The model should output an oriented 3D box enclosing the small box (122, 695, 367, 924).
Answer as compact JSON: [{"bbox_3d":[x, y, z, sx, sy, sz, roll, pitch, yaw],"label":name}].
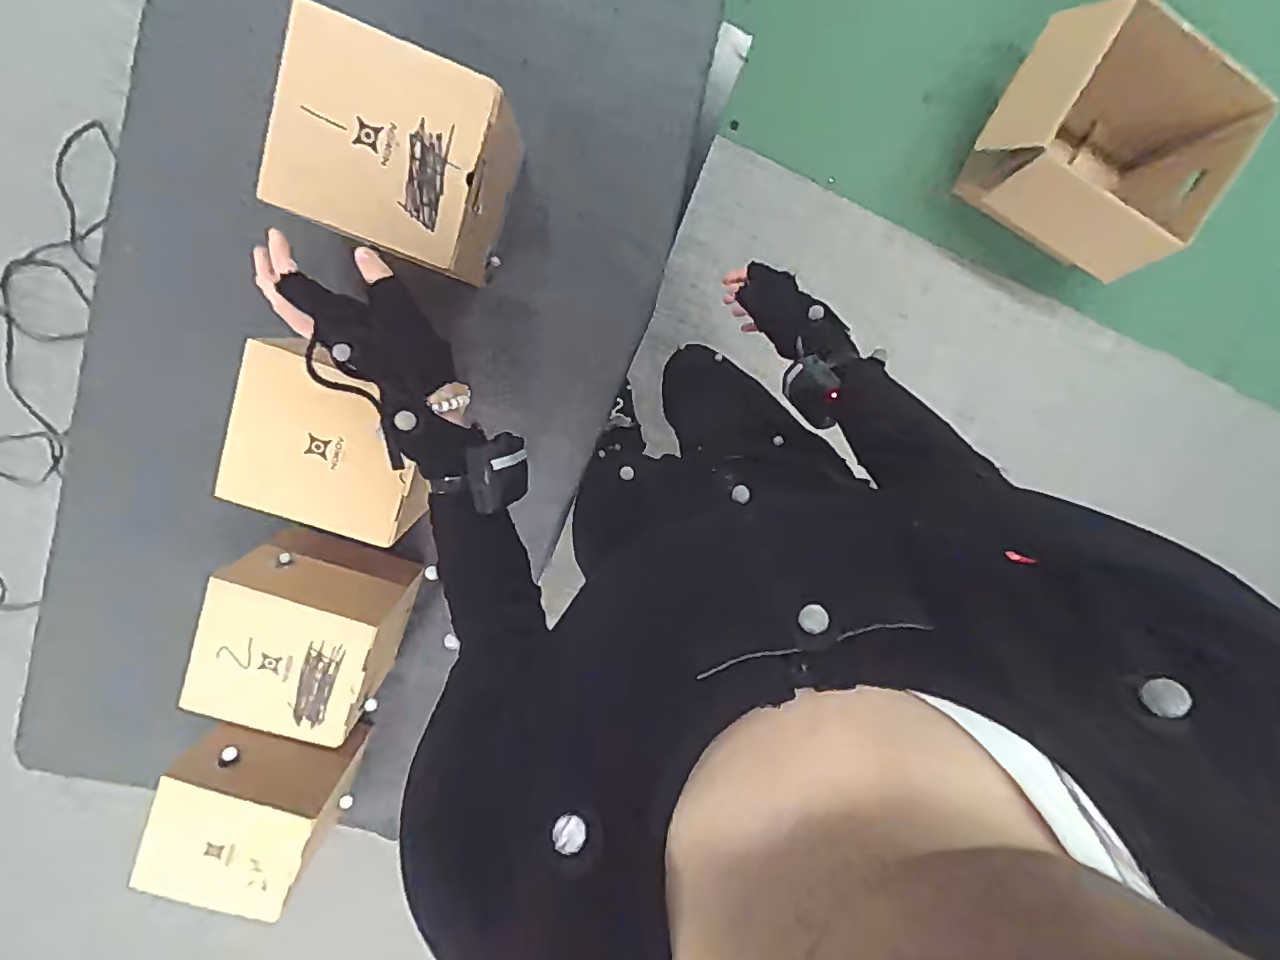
[{"bbox_3d":[-0.496,0.413,0.705,0.179,0.176,0.168,23,101,-9],"label":"small box"}]

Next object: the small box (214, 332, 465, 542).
[{"bbox_3d":[-0.320,-0.054,0.610,0.179,0.176,0.168,19,101,-10],"label":"small box"}]

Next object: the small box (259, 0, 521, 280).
[{"bbox_3d":[-0.233,-0.317,0.549,0.179,0.176,0.168,19,102,-9],"label":"small box"}]
